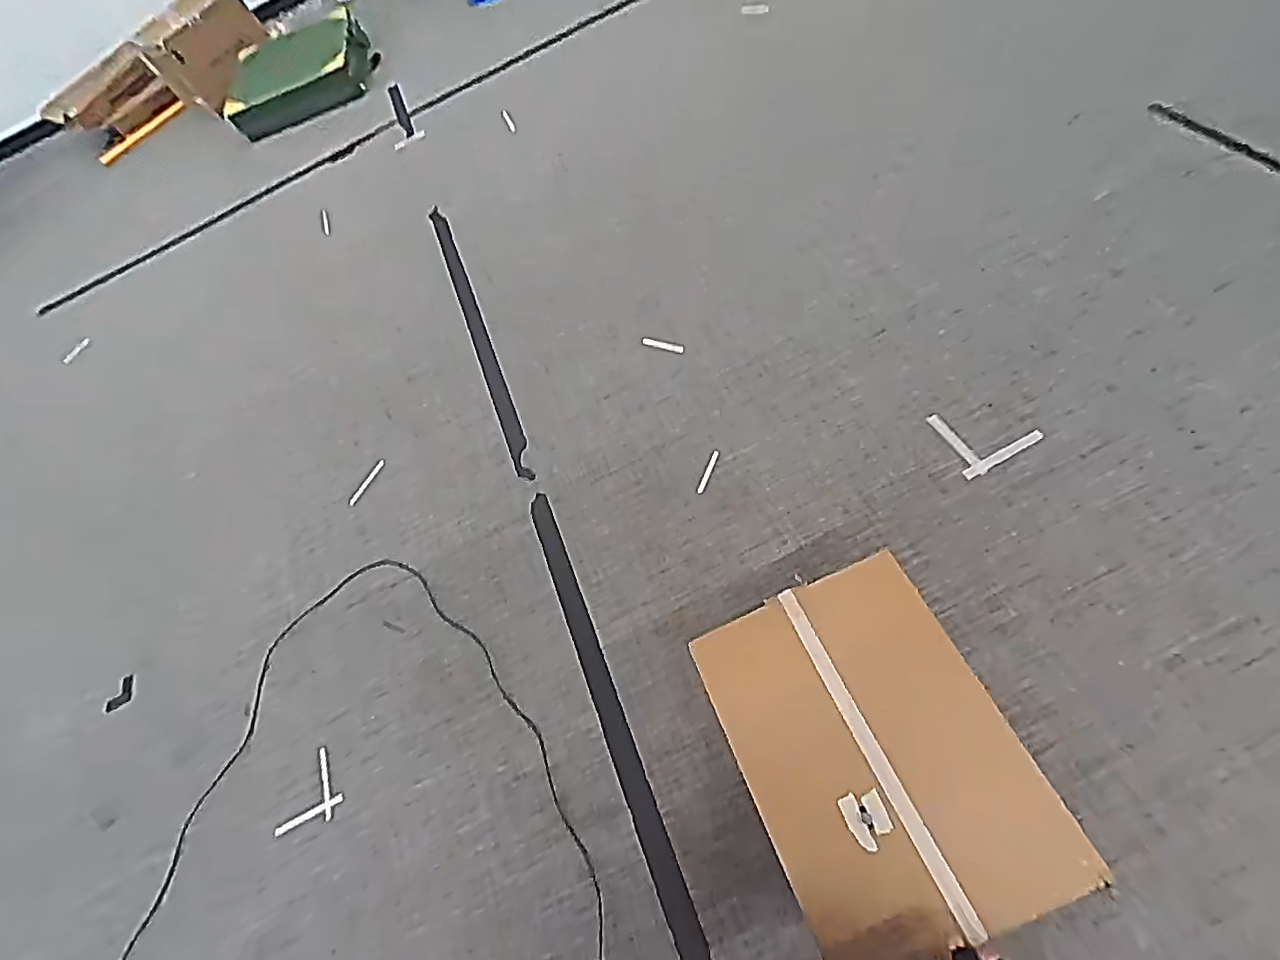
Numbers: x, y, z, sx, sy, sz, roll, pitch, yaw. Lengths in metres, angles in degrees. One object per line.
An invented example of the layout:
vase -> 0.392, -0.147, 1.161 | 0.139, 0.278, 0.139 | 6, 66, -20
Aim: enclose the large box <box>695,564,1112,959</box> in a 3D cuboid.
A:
large box -> 0.318, 0.400, 0.793 | 0.320, 0.320, 0.408 | -26, 60, 2
